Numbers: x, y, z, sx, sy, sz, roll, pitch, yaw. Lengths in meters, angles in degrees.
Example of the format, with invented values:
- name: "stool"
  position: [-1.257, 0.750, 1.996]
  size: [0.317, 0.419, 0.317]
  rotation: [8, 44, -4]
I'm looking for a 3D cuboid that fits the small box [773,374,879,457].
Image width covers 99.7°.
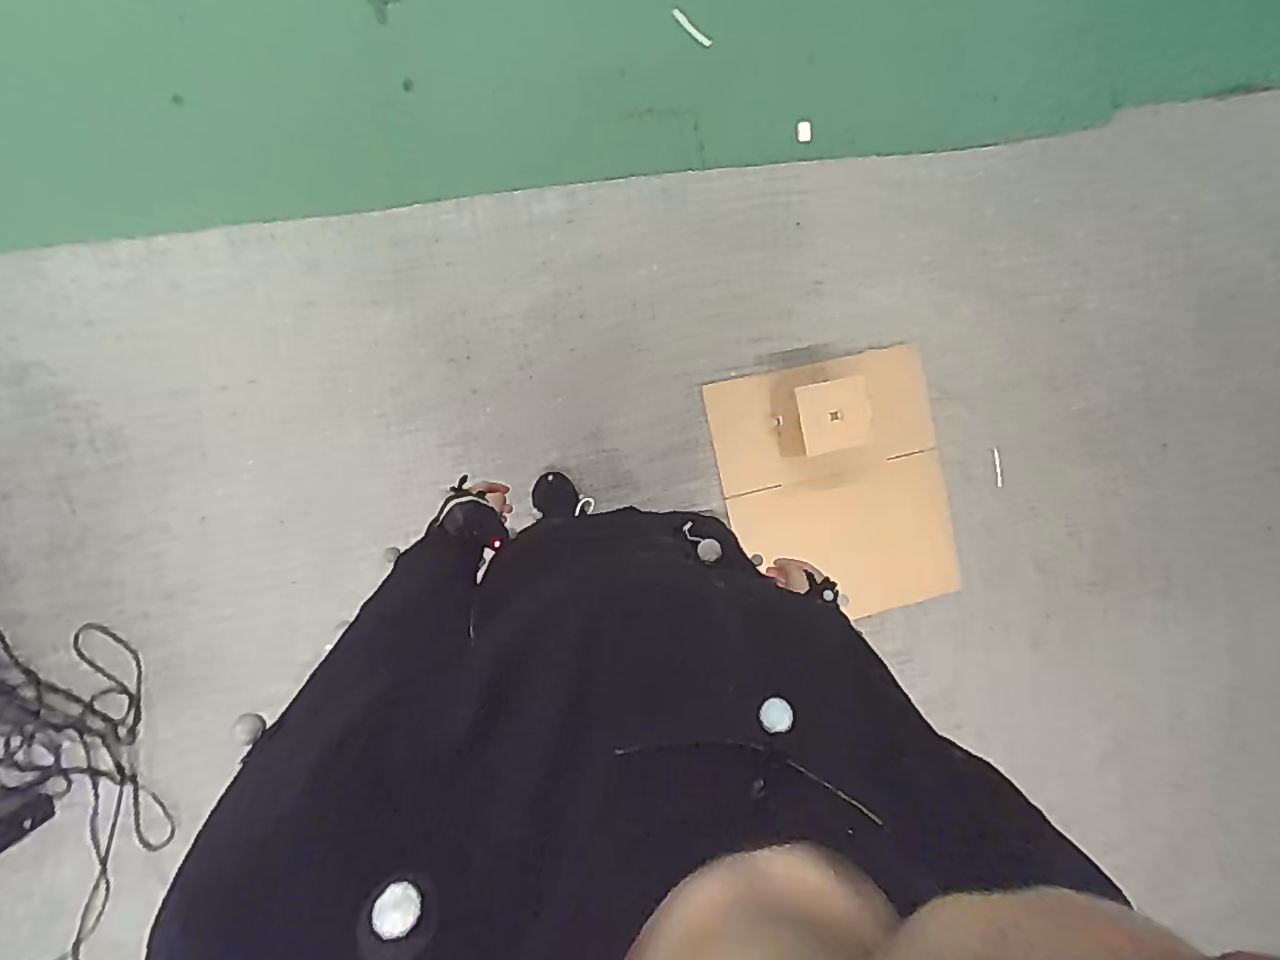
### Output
- name: "small box"
  position: [0.447, -0.152, 1.319]
  size: [0.179, 0.176, 0.168]
  rotation: [-12, 93, -6]
